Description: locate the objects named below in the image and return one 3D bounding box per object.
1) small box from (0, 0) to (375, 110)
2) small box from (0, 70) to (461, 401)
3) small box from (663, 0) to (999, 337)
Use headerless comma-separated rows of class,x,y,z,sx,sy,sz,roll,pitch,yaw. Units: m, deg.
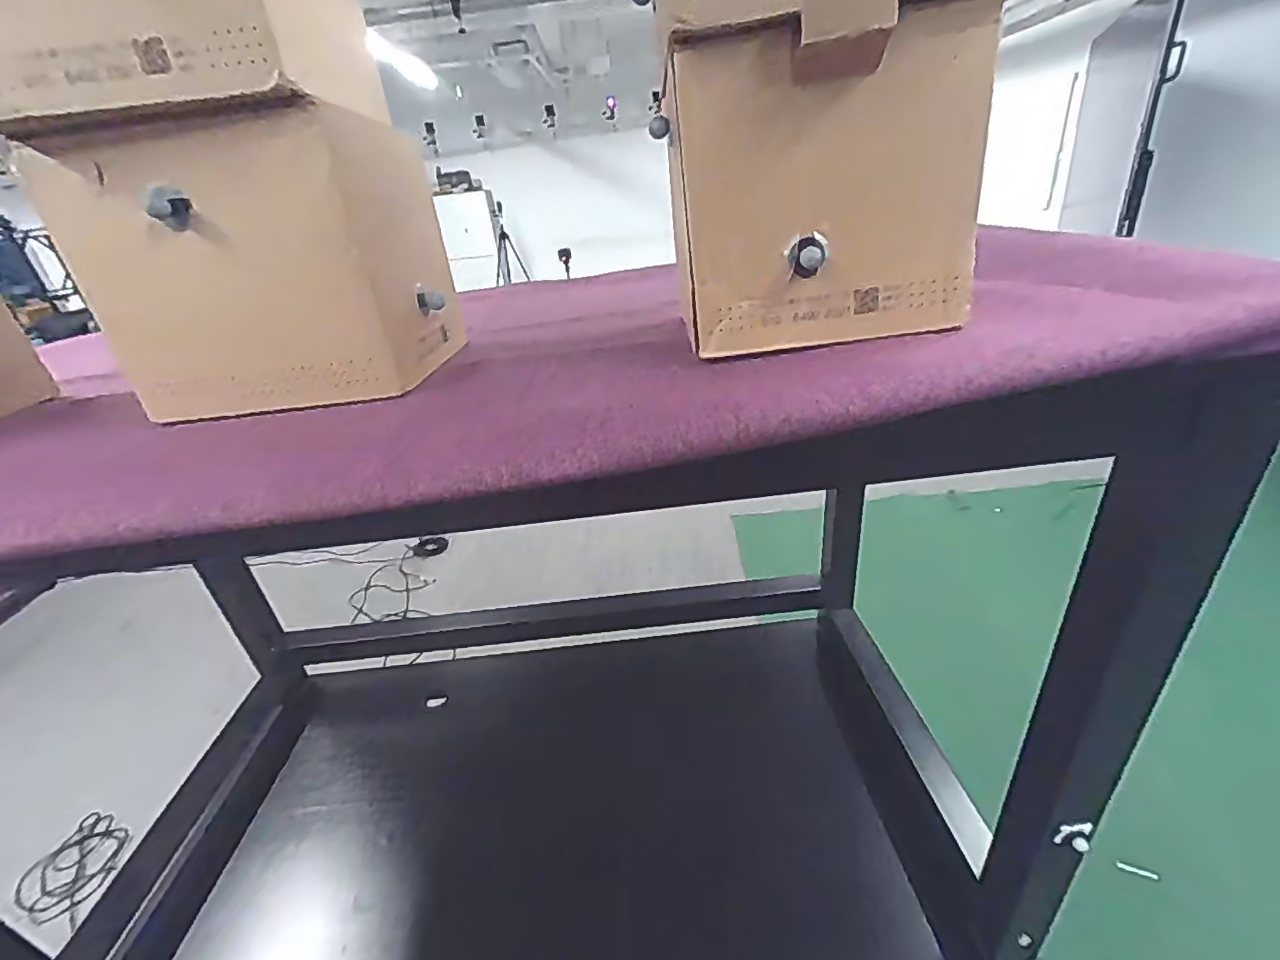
small box,-0.277,-0.301,0.304,0.168,0.176,0.179,-9,27,-3
small box,-0.253,-0.162,0.388,0.179,0.176,0.168,-6,27,2
small box,0.105,-0.203,0.373,0.168,0.176,0.179,-7,26,4
